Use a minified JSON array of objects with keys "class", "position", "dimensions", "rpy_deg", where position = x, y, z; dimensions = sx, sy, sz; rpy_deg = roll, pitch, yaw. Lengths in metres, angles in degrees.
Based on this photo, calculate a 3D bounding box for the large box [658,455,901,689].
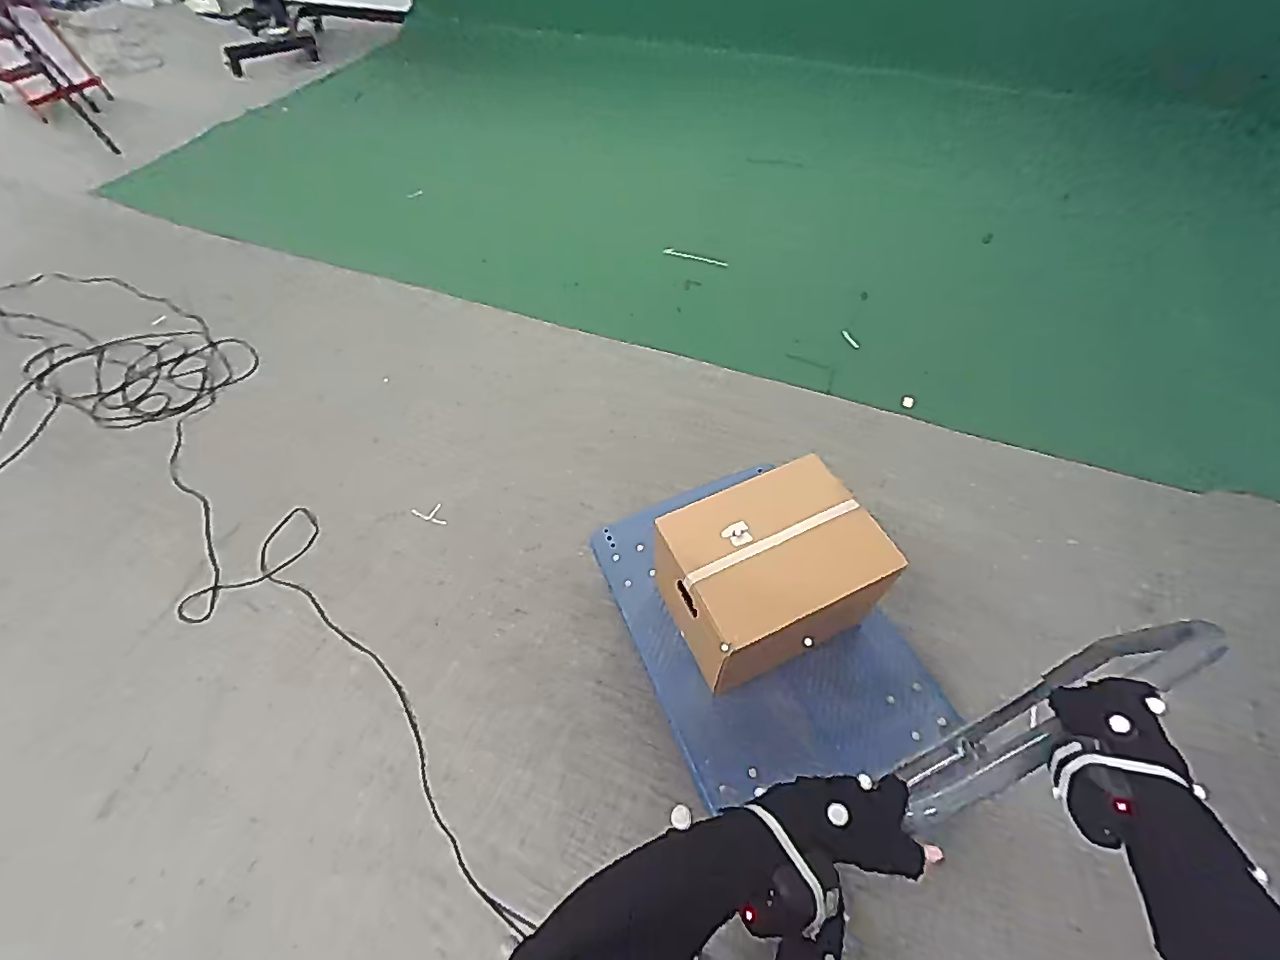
[{"class":"large box","position":[0.284,0.210,1.222],"dimensions":[0.408,0.320,0.320],"rpy_deg":[-23,57,-12]}]
